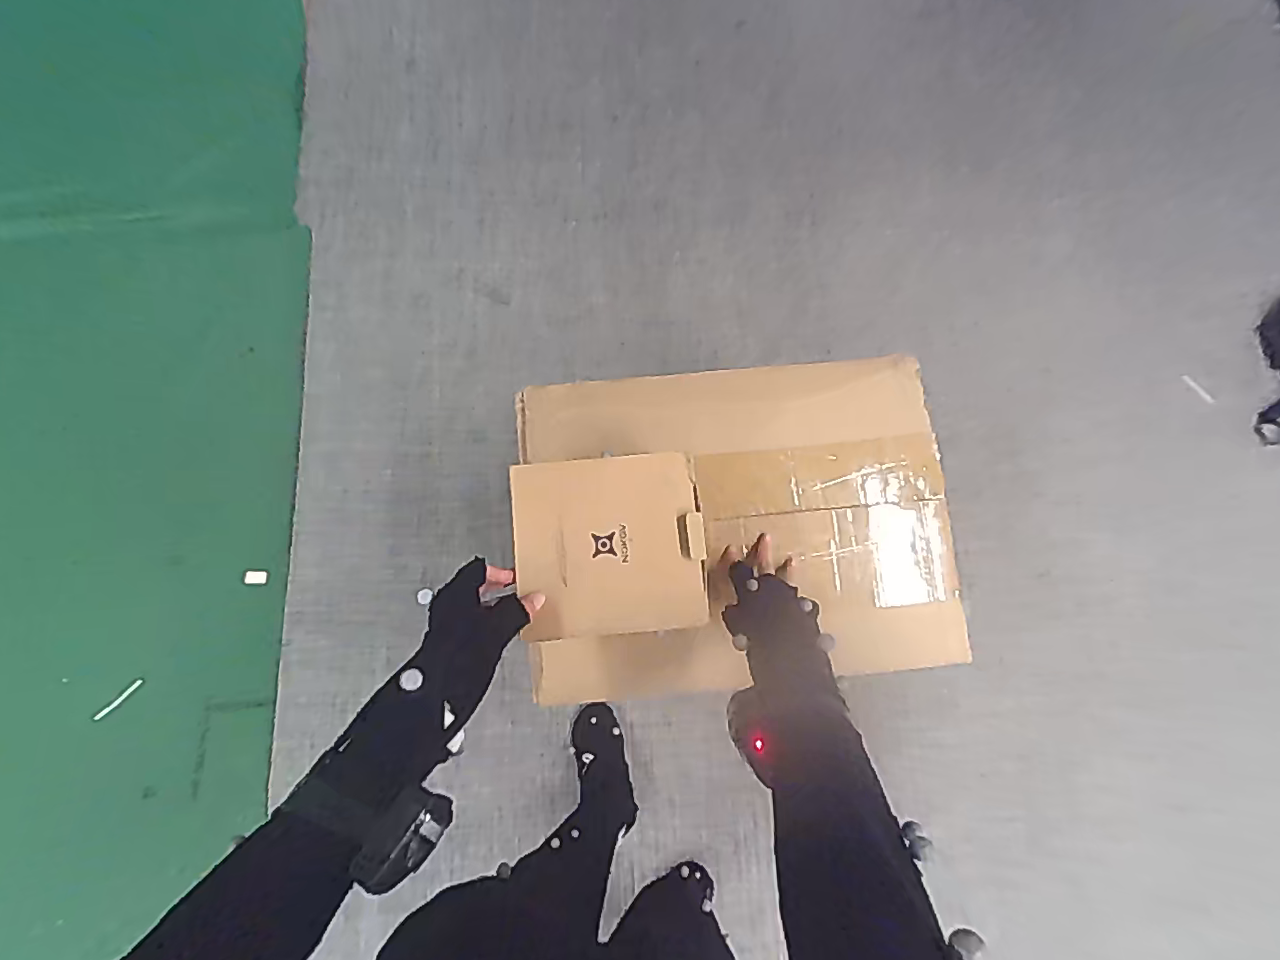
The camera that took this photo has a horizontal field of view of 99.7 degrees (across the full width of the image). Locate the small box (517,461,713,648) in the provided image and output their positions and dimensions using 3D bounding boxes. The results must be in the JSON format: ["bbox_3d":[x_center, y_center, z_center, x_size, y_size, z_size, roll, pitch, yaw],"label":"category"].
[{"bbox_3d":[-0.027,0.080,0.587,0.179,0.176,0.168,-6,80,-1],"label":"small box"}]
